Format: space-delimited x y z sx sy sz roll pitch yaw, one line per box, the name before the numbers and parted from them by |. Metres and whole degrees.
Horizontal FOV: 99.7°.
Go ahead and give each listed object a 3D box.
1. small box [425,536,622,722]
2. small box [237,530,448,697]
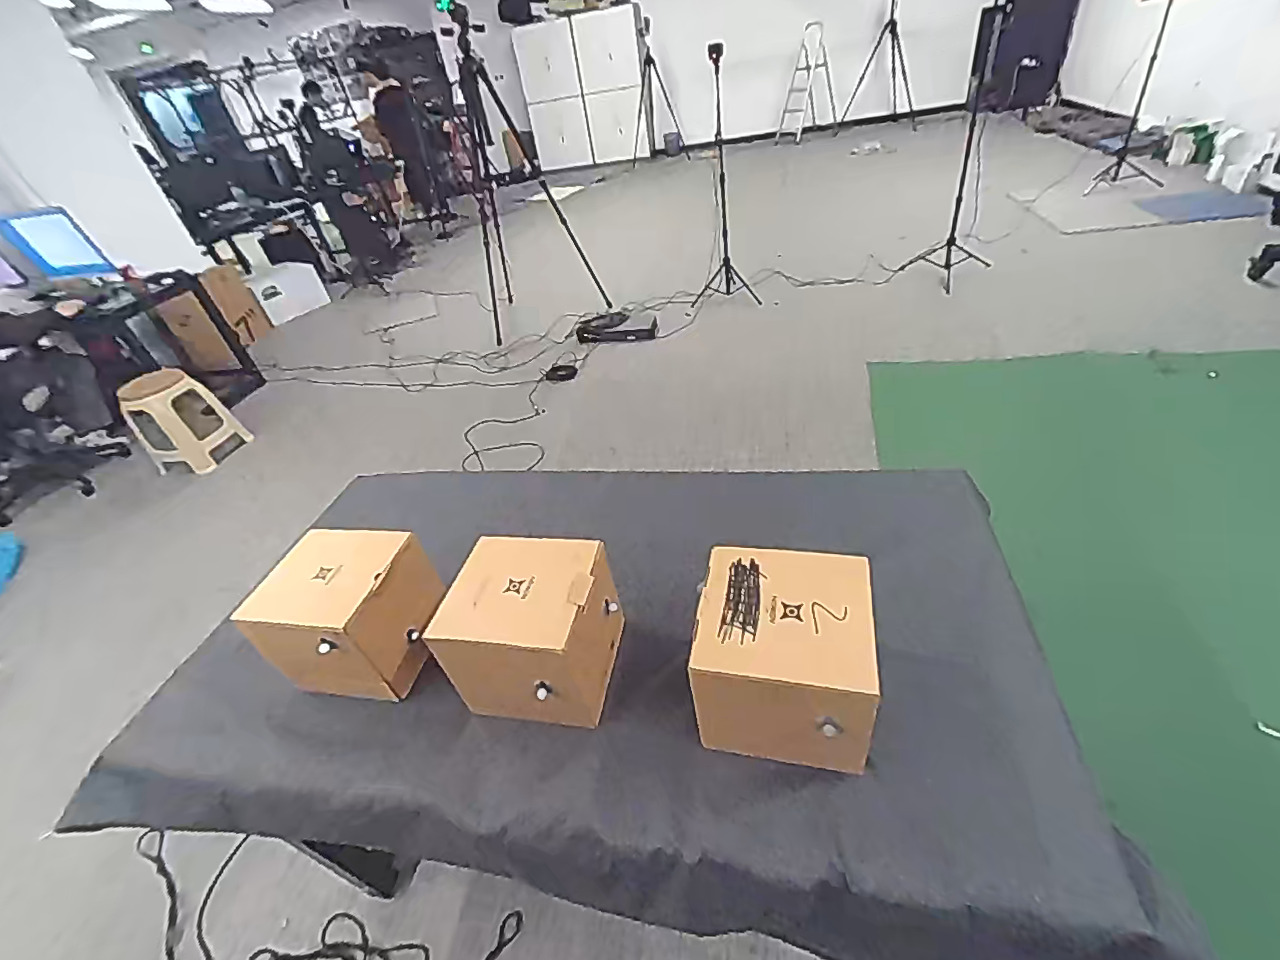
small box | -0.132 0.191 0.699 0.179 0.176 0.168 -1 38 15
small box | -0.403 0.189 0.773 0.179 0.176 0.168 0 39 13
